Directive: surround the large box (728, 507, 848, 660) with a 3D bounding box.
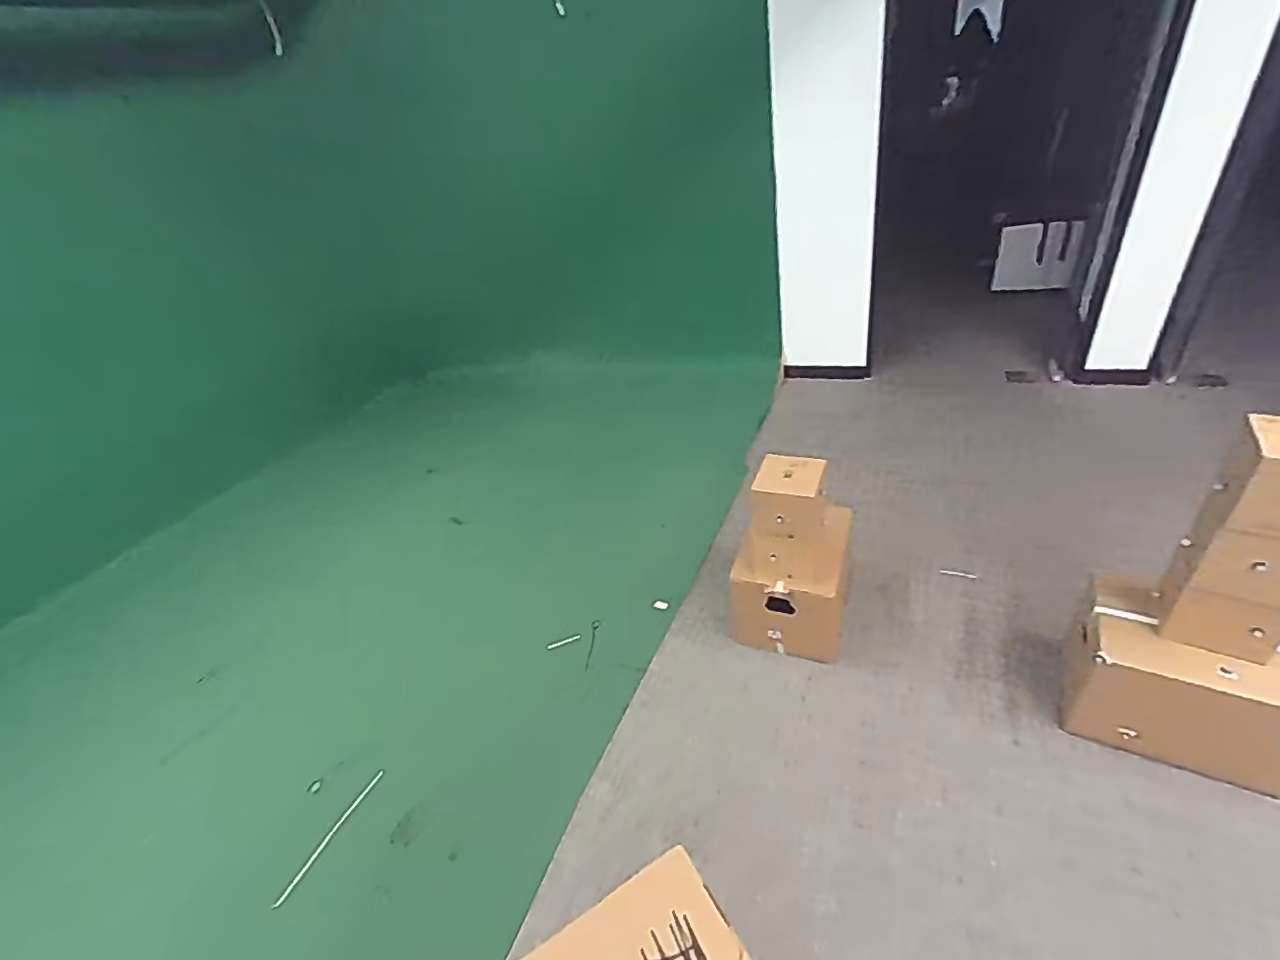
[{"bbox_3d":[0.507,0.323,1.801,0.320,0.320,0.408,6,38,25],"label":"large box"}]

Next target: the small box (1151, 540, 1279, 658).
[{"bbox_3d":[1.285,0.265,1.203,0.179,0.176,0.168,14,41,33],"label":"small box"}]

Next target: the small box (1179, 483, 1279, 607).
[{"bbox_3d":[1.258,0.134,1.108,0.179,0.176,0.168,14,41,34],"label":"small box"}]

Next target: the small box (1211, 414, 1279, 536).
[{"bbox_3d":[1.230,-0.002,1.020,0.168,0.176,0.179,15,42,33],"label":"small box"}]

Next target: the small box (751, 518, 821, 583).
[{"bbox_3d":[0.437,0.180,1.596,0.168,0.176,0.179,8,39,27],"label":"small box"}]

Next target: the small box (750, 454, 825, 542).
[{"bbox_3d":[0.413,0.050,1.498,0.168,0.176,0.179,8,39,27],"label":"small box"}]
